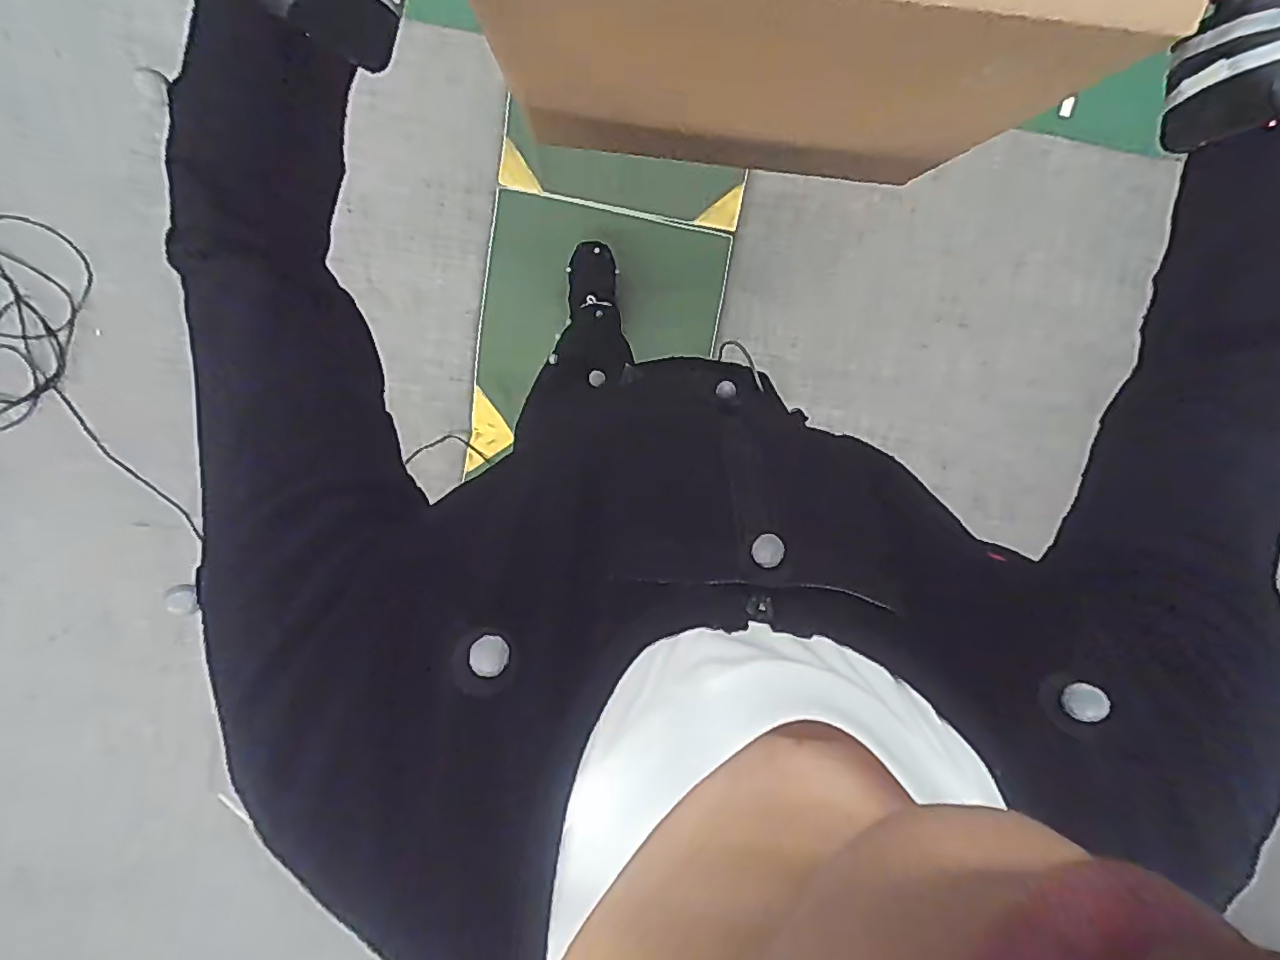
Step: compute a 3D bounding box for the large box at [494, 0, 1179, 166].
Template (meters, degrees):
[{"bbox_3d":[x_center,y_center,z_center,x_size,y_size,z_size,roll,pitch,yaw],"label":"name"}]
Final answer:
[{"bbox_3d":[0.107,-0.456,0.395,0.408,0.320,0.320,3,106,-4],"label":"large box"}]
